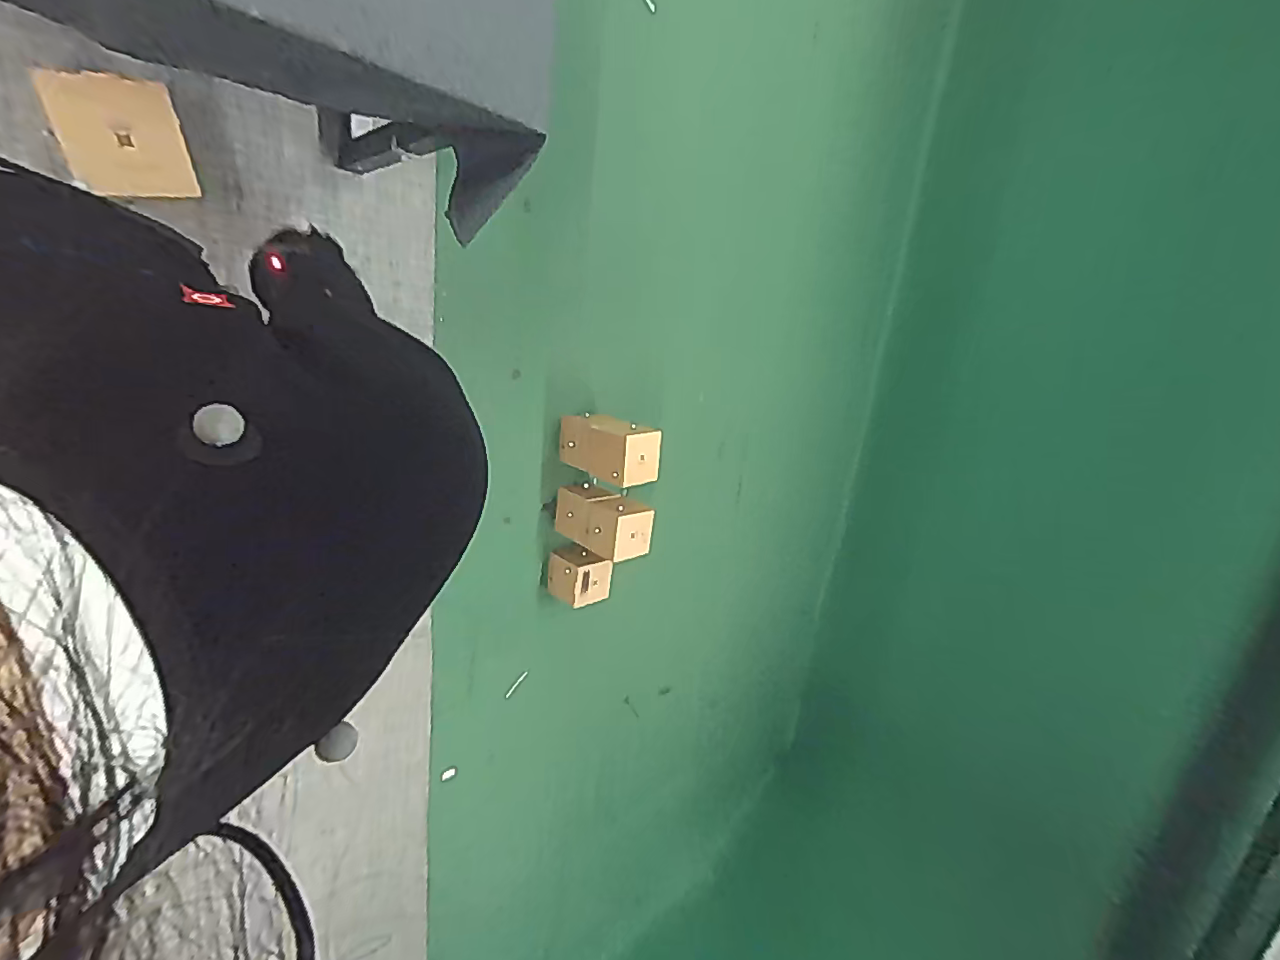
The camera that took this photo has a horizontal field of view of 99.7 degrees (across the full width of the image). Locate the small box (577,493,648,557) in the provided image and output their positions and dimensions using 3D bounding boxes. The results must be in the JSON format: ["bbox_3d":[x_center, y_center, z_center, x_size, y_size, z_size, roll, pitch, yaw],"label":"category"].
[{"bbox_3d":[-0.101,0.154,1.902,0.179,0.176,0.168,-8,112,-46],"label":"small box"}]

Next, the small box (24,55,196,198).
[{"bbox_3d":[-0.918,-0.599,0.941,0.168,0.176,0.179,-24,122,-40],"label":"small box"}]

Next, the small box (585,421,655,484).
[{"bbox_3d":[-0.070,-0.102,1.829,0.168,0.176,0.179,-13,115,-45],"label":"small box"}]
